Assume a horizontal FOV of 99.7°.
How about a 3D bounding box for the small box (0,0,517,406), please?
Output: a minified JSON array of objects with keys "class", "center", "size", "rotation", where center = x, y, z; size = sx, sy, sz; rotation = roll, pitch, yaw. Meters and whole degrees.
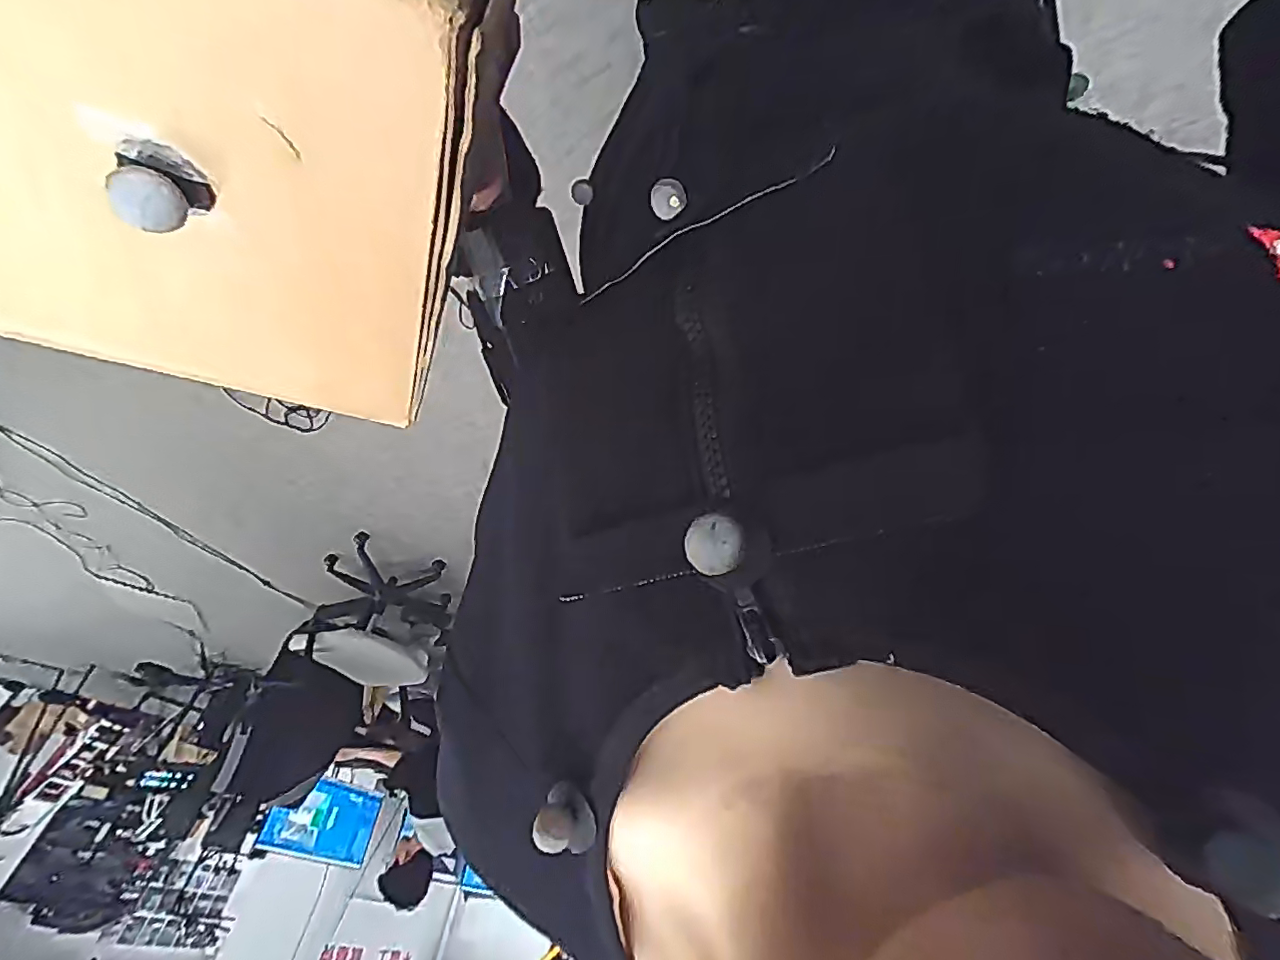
[{"class":"small box","center":[-0.141,-0.154,0.190],"size":[0.176,0.168,0.179],"rotation":[13,151,-20]}]
